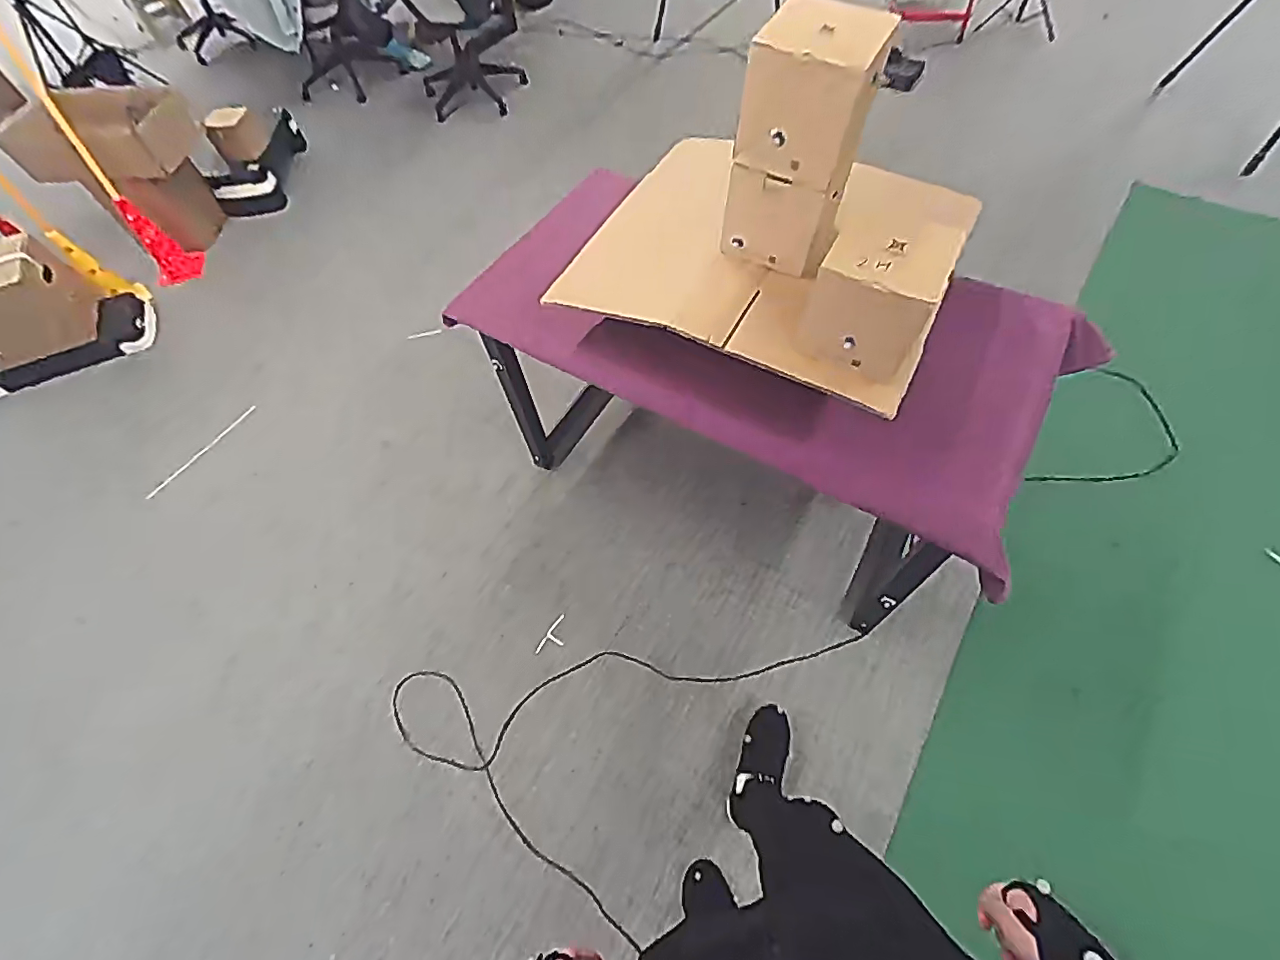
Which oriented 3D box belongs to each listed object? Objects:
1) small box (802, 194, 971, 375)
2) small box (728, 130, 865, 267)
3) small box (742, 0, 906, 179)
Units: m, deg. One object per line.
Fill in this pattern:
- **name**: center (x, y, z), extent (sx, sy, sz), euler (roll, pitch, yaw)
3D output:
- **small box**: center (0.371, -0.299, 0.840), extent (0.168, 0.176, 0.179), euler (26, 66, 15)
- **small box**: center (0.267, -0.512, 0.958), extent (0.168, 0.176, 0.179), euler (26, 65, 14)
- **small box**: center (0.267, -0.596, 0.819), extent (0.168, 0.176, 0.179), euler (25, 66, 13)
